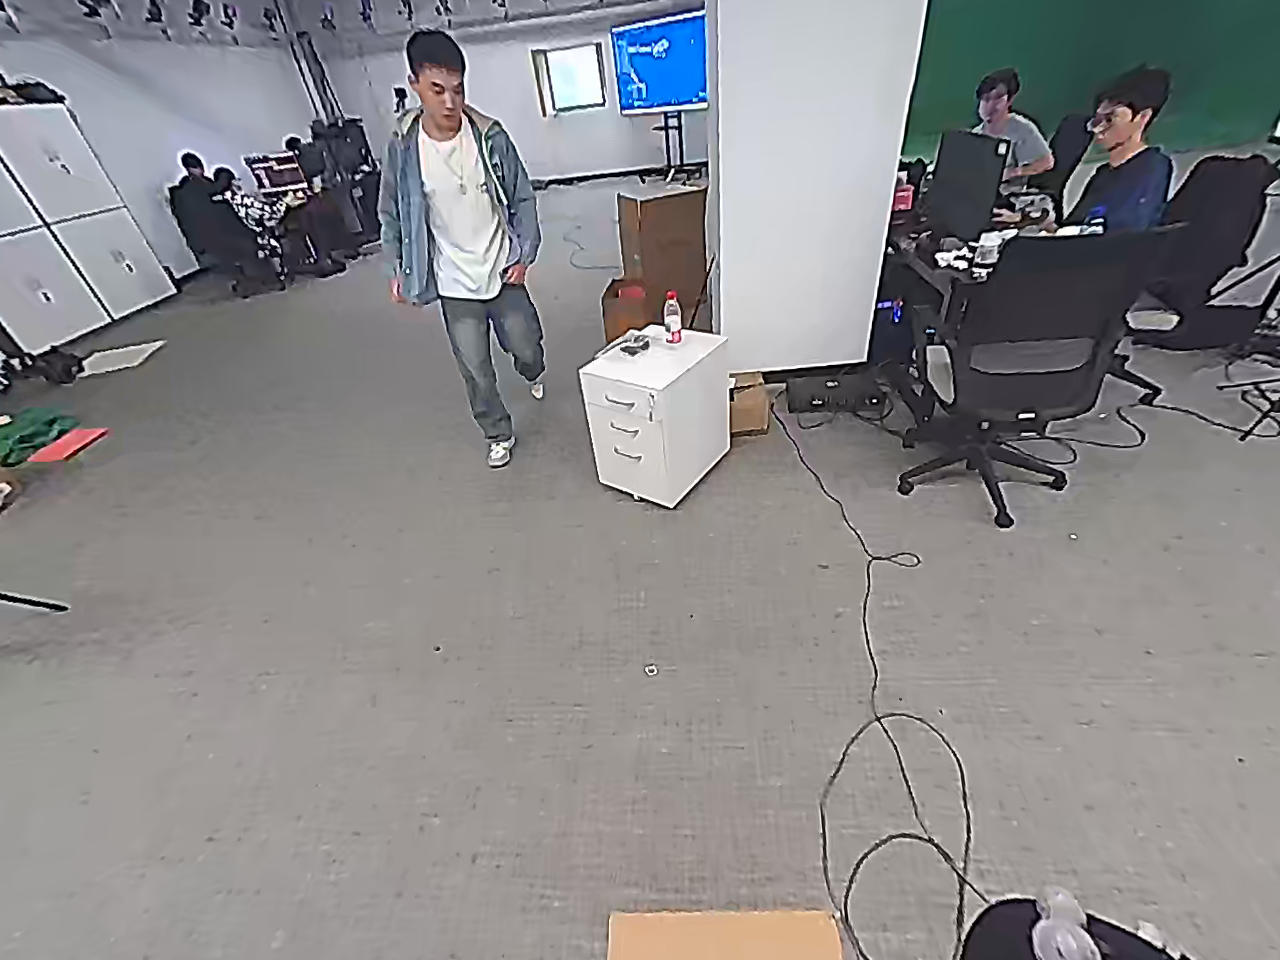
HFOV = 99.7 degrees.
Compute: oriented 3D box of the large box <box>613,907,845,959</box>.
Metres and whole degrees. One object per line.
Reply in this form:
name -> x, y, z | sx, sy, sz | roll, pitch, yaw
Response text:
large box -> 0.162, 0.994, 0.946 | 0.408, 0.320, 0.320 | -4, 36, 4
